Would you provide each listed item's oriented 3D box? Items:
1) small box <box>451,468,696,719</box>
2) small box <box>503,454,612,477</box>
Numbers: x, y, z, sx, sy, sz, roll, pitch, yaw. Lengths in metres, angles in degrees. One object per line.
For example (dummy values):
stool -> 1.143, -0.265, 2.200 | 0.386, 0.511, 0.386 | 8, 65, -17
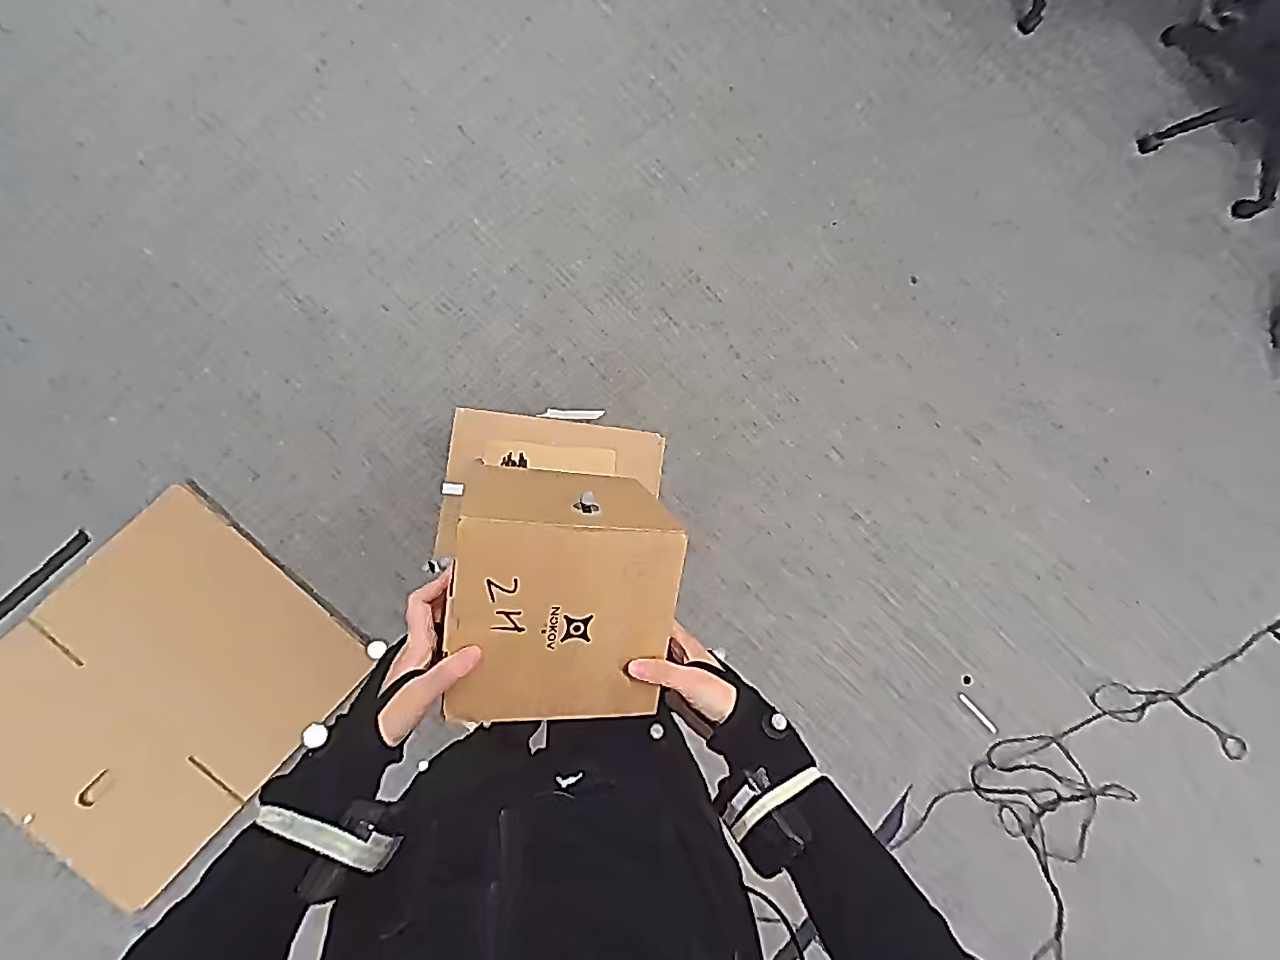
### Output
small box -> -0.071, 0.090, 0.492 | 0.179, 0.176, 0.168 | 5, 103, -16
small box -> -0.148, 0.051, 0.947 | 0.179, 0.176, 0.168 | 4, 86, -9
